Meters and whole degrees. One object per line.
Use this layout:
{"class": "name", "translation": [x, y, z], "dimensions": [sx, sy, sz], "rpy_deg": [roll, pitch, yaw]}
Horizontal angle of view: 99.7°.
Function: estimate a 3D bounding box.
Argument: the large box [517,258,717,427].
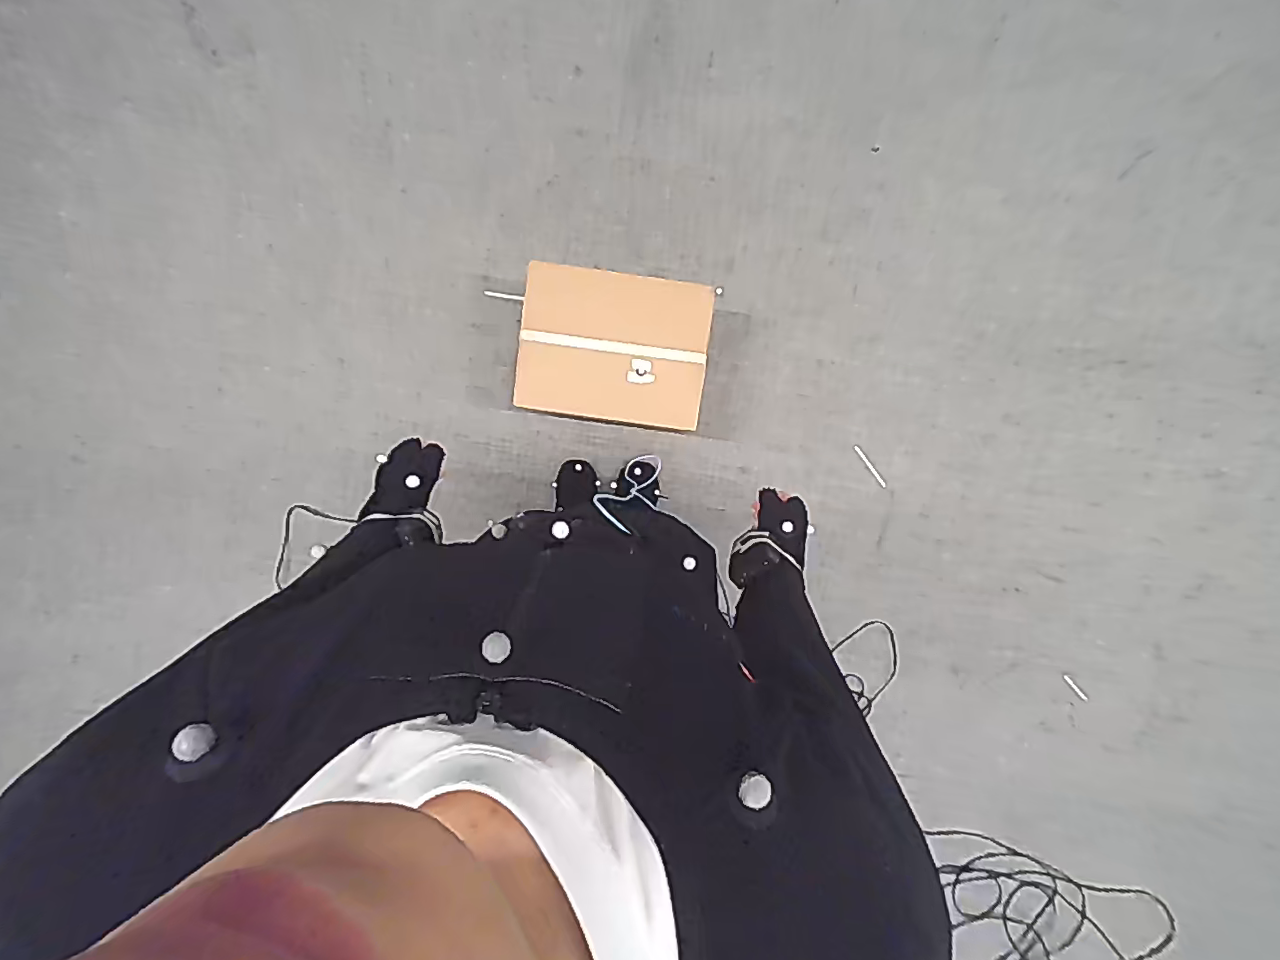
{"class": "large box", "translation": [-0.055, -0.306, 1.304], "dimensions": [0.408, 0.320, 0.320], "rpy_deg": [8, 95, -2]}
